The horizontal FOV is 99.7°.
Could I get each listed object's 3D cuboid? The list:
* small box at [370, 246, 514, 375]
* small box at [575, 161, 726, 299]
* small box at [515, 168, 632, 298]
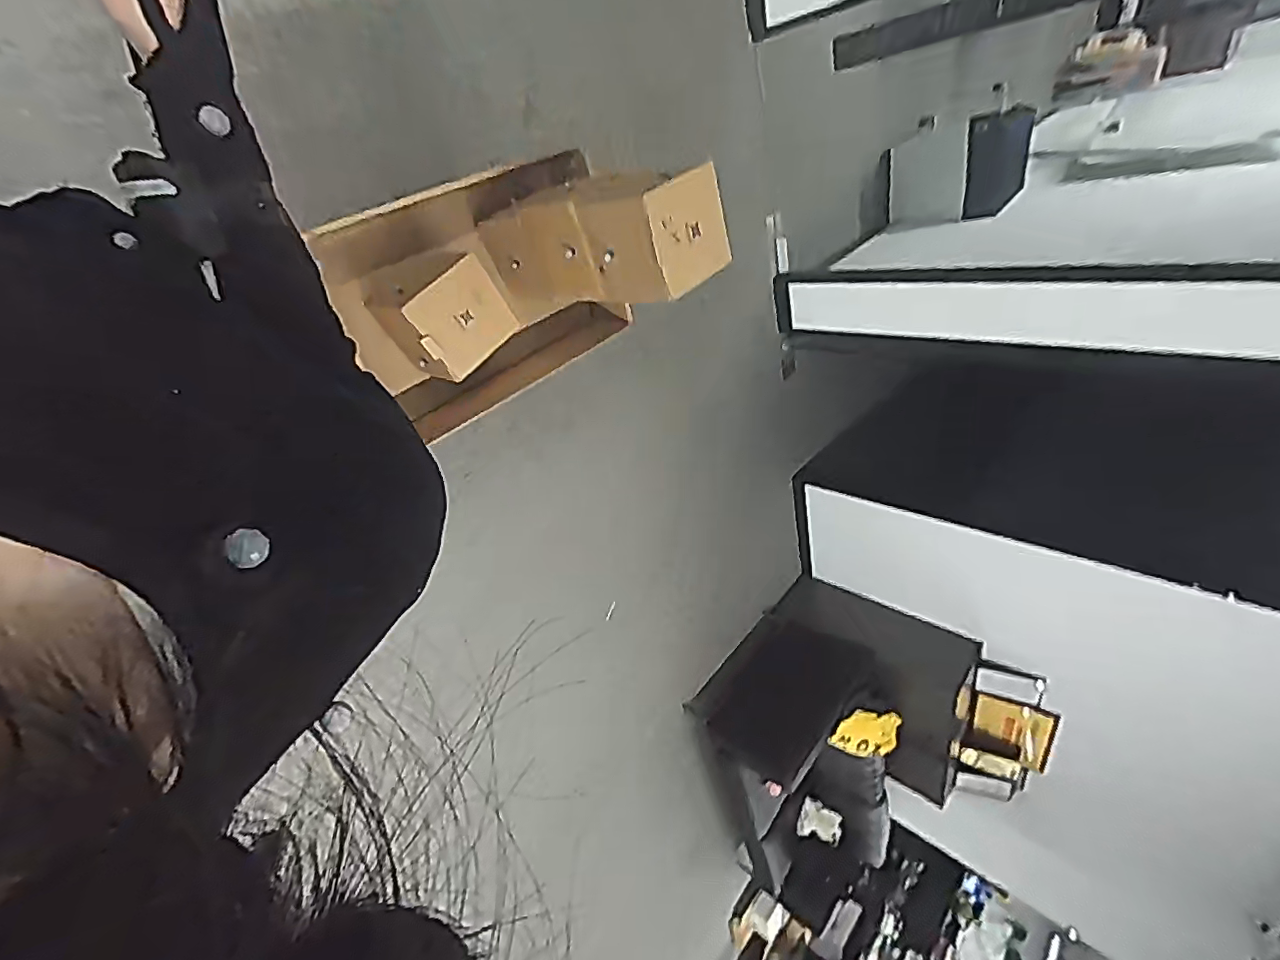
[{"bbox_3d":[-0.386,-0.326,1.039,0.179,0.176,0.168,-50,135,-22],"label":"small box"},{"bbox_3d":[0.020,-0.428,0.933,0.179,0.176,0.168,-41,129,-28],"label":"small box"},{"bbox_3d":[-0.104,-0.469,1.035,0.168,0.176,0.179,-43,130,-27],"label":"small box"}]
